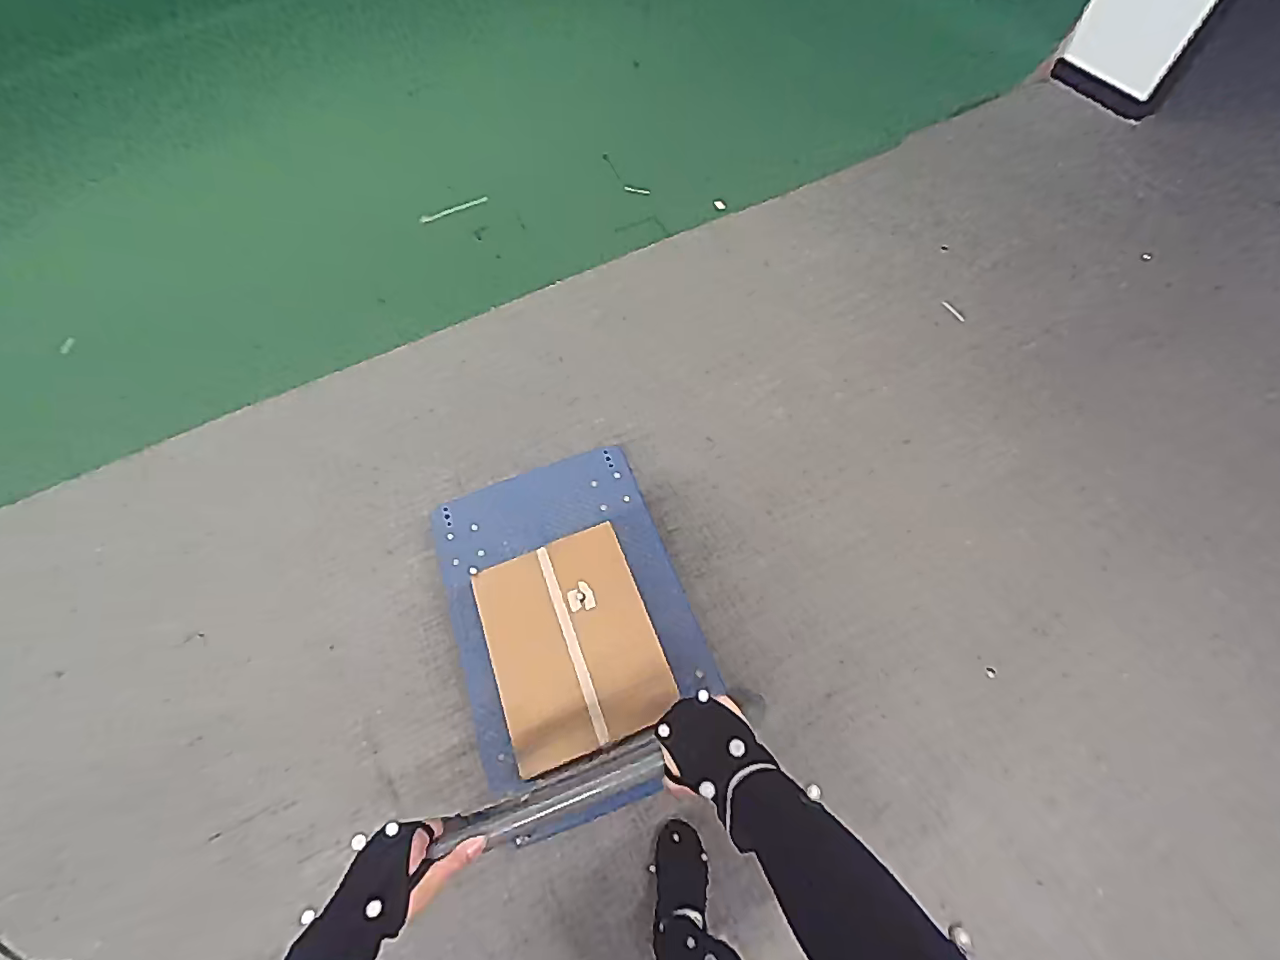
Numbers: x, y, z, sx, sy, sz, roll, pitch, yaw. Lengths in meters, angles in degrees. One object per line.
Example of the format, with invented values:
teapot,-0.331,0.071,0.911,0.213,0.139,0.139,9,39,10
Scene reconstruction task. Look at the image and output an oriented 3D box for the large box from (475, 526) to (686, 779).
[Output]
large box,-0.117,0.380,1.181,0.320,0.320,0.408,-21,62,-7
